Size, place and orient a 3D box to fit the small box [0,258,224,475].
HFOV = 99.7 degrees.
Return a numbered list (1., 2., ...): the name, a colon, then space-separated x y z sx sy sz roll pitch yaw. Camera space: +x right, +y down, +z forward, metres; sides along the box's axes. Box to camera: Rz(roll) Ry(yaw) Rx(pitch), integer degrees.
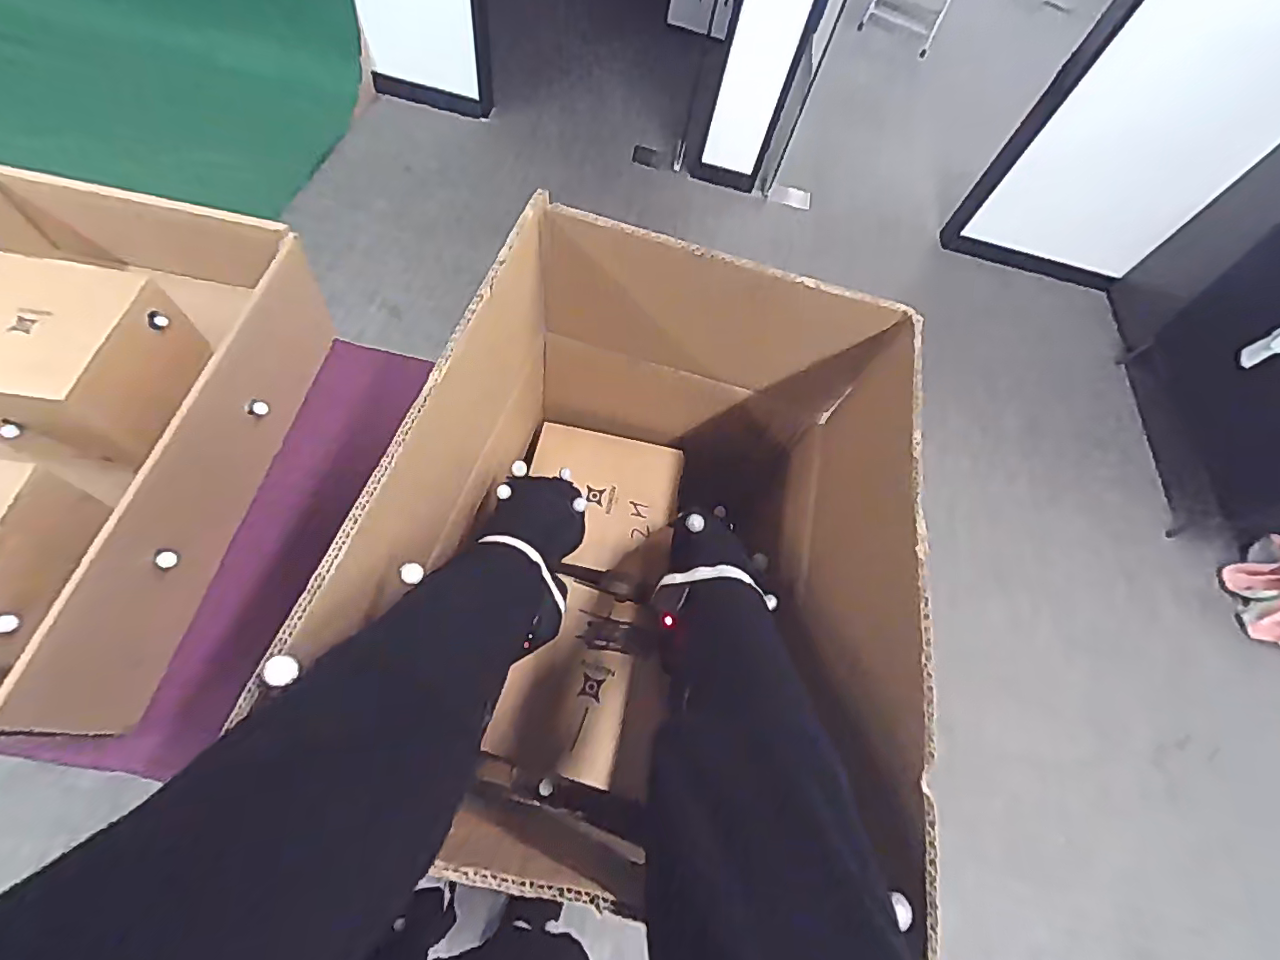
1. small box: -0.642 -0.122 0.632 0.168 0.176 0.179 8 62 -5
